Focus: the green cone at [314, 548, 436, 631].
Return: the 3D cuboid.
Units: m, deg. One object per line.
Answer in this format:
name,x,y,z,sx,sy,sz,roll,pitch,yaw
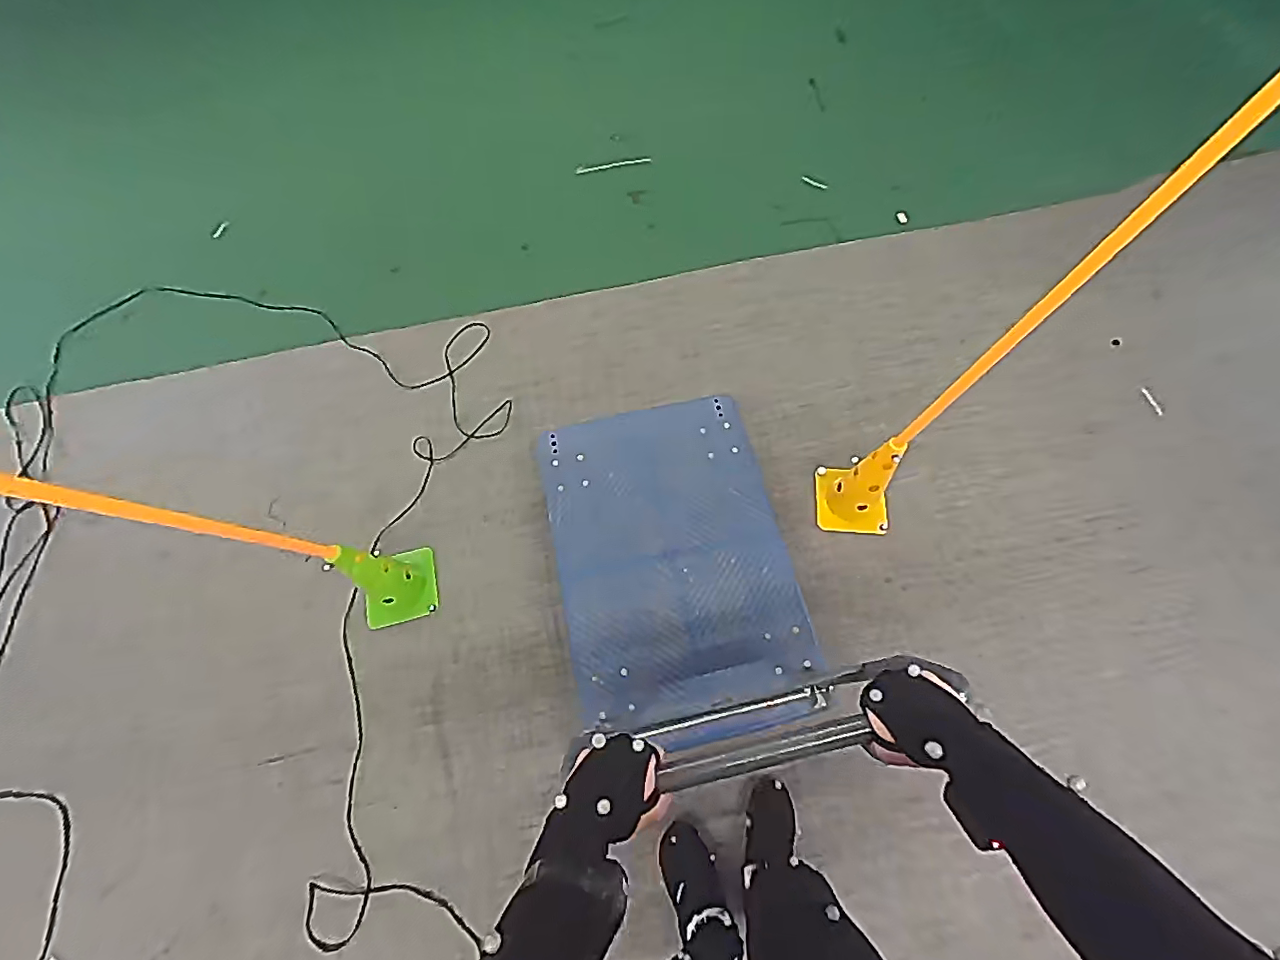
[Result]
green cone,-0.696,0.239,1.377,0.202,0.368,0.200,-16,66,-3
